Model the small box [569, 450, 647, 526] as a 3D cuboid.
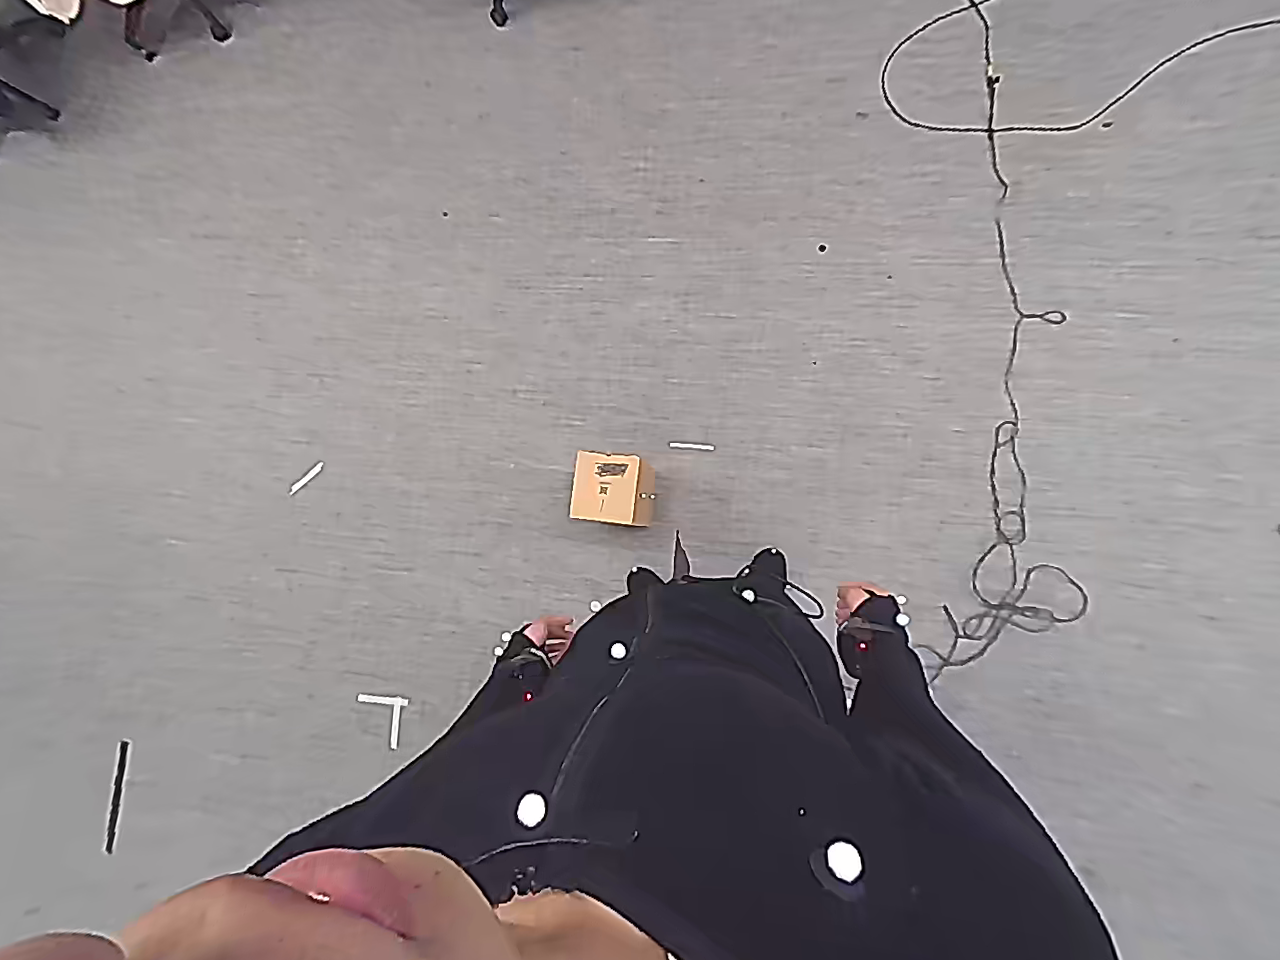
[{"bbox_3d":[-0.079,0.025,1.439,0.168,0.176,0.179,6,86,9],"label":"small box"}]
